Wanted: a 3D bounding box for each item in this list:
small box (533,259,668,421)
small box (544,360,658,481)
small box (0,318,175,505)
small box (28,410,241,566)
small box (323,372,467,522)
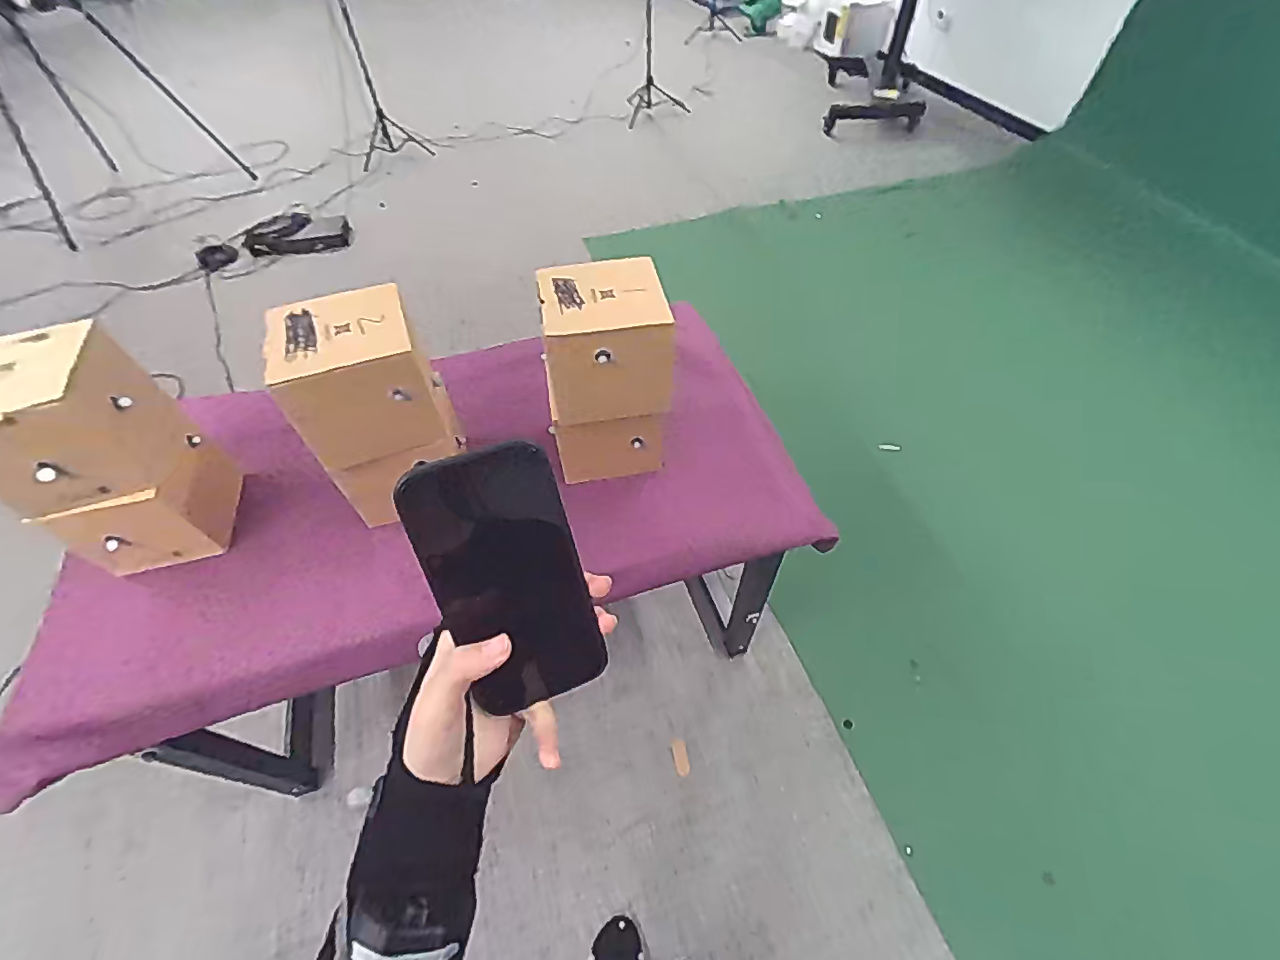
[{"bbox_3d":[-0.057,-0.206,0.818,0.179,0.176,0.168,-8,53,-6],"label":"small box"},{"bbox_3d":[-0.067,-0.117,0.955,0.179,0.176,0.168,-8,53,-4],"label":"small box"},{"bbox_3d":[-0.785,-0.086,0.737,0.168,0.176,0.179,-16,55,-12],"label":"small box"},{"bbox_3d":[-0.780,0.020,0.863,0.168,0.176,0.179,-13,54,-9],"label":"small box"},{"bbox_3d":[-0.399,-0.052,0.910,0.179,0.176,0.168,-13,54,-9],"label":"small box"}]
